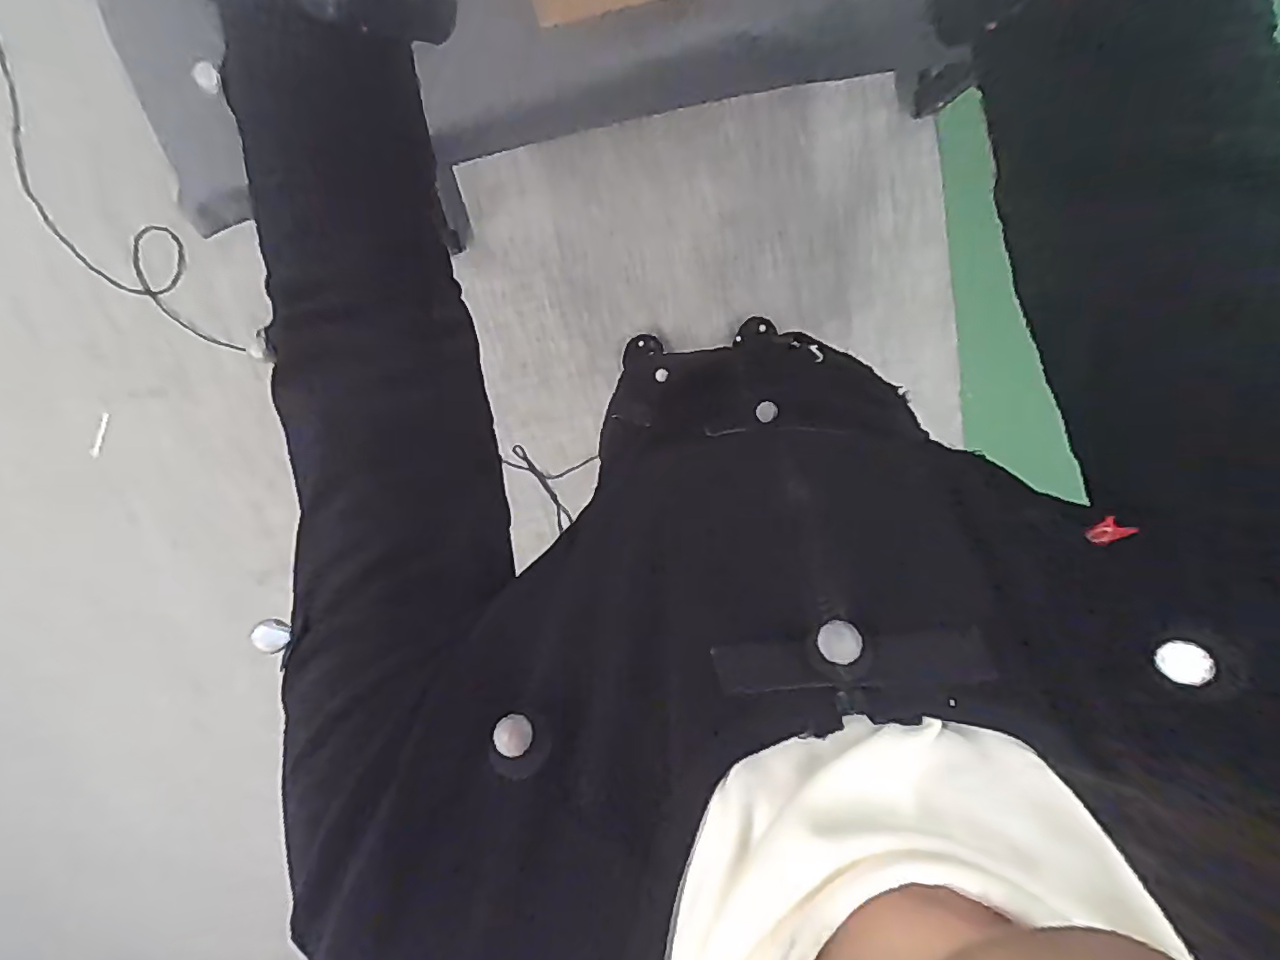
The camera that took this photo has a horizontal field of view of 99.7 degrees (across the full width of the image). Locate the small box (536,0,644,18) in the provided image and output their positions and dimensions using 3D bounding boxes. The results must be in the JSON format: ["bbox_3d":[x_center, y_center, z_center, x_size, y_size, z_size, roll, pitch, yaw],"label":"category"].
[{"bbox_3d":[-0.035,-0.541,0.457,0.179,0.176,0.168,-10,104,4],"label":"small box"}]
